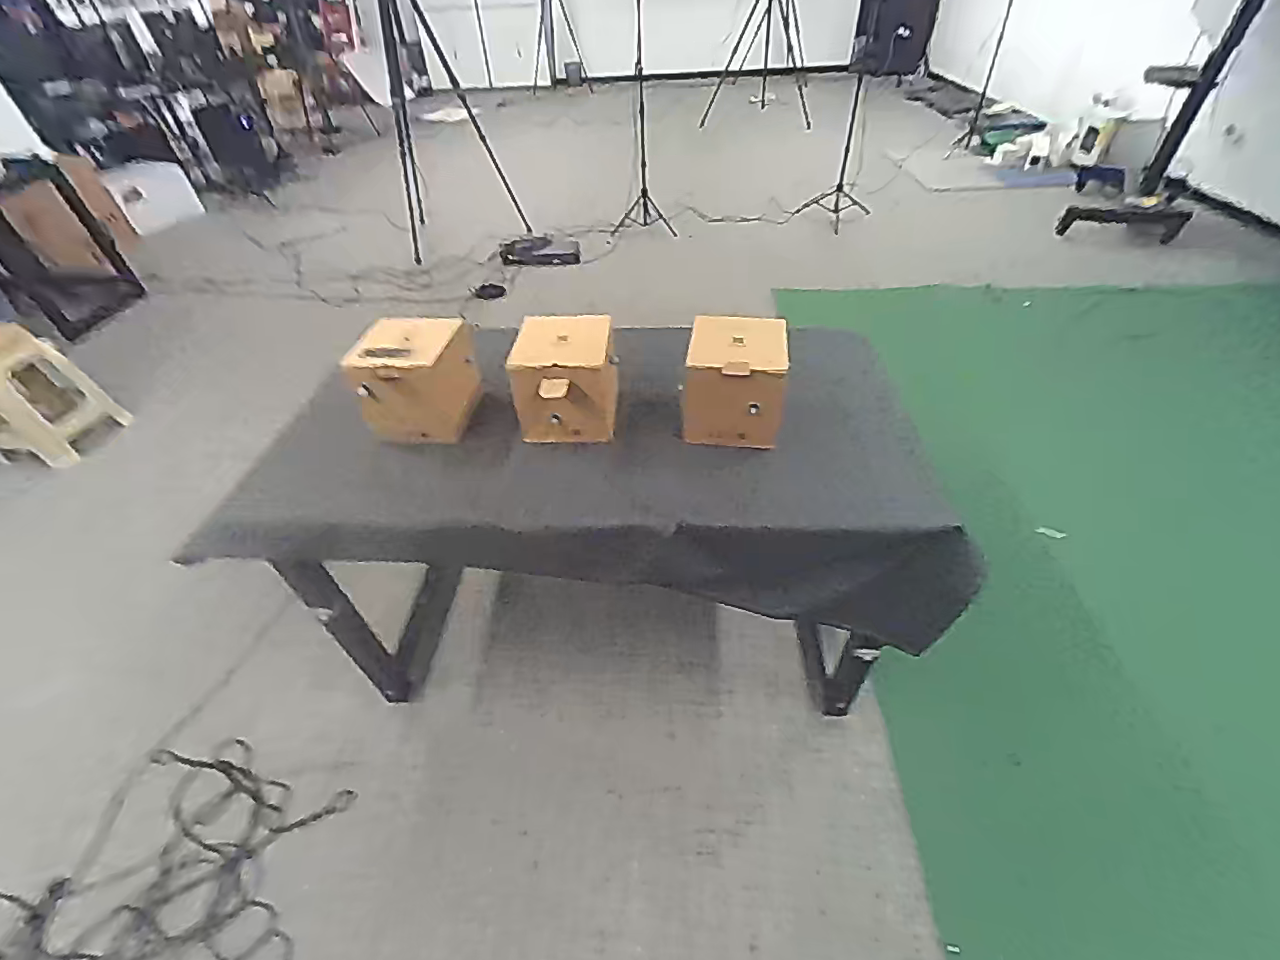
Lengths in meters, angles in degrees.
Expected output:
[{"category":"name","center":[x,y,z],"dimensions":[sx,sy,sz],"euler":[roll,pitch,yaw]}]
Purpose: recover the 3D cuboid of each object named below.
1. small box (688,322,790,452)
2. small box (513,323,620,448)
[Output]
[{"category":"small box","center":[0.177,-0.169,0.985],"dimensions":[0.168,0.176,0.179],"euler":[5,43,8]},{"category":"small box","center":[-0.127,-0.180,1.018],"dimensions":[0.168,0.176,0.179],"euler":[0,44,4]}]
